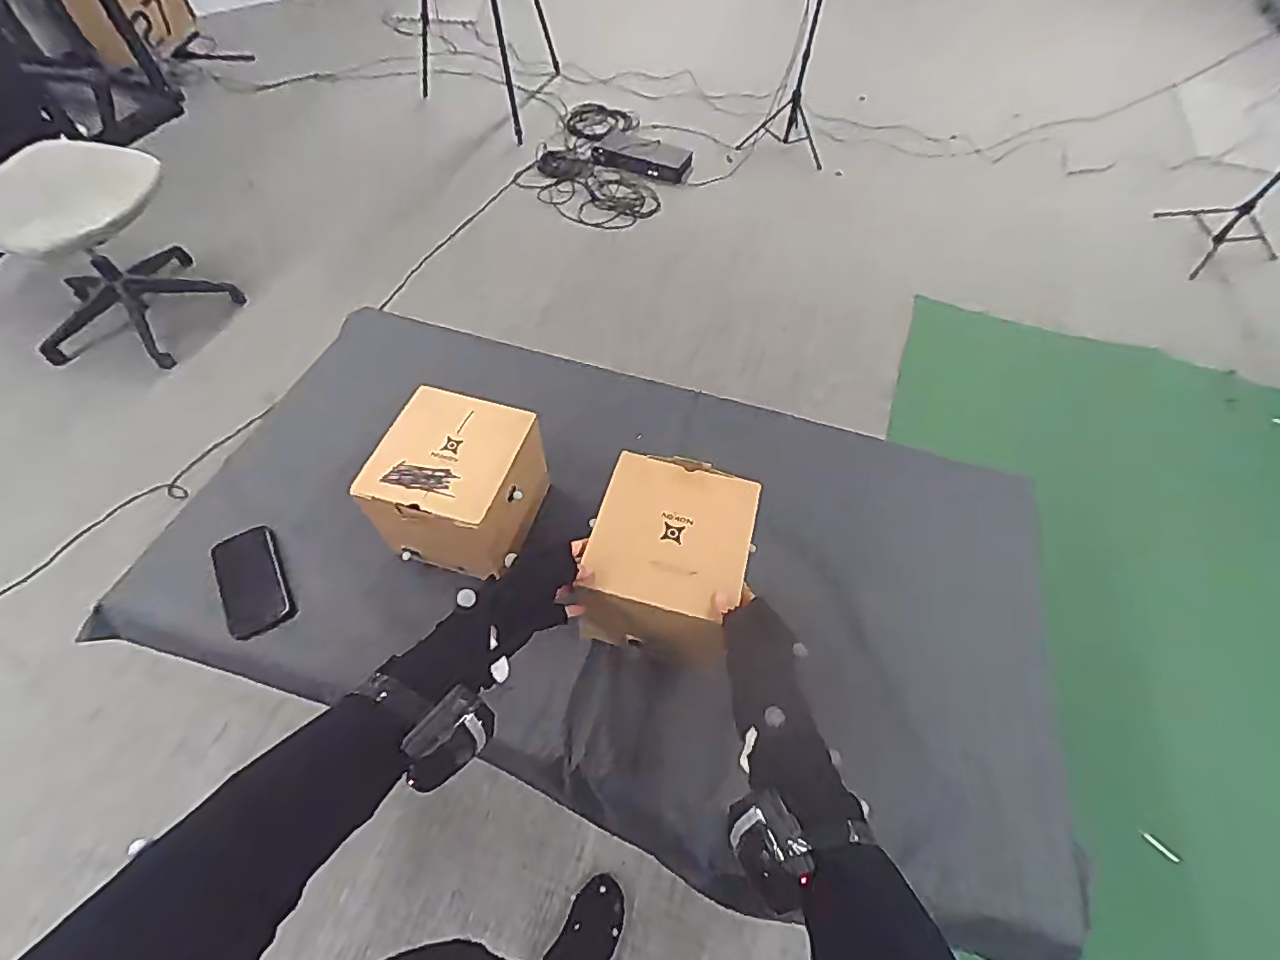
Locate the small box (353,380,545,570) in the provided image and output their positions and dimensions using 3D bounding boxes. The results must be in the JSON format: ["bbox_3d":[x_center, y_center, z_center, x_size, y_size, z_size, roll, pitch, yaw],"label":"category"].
[{"bbox_3d":[-0.237,0.000,0.728,0.168,0.176,0.179,15,58,6],"label":"small box"}]

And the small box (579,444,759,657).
[{"bbox_3d":[0.033,0.088,0.646,0.168,0.176,0.179,13,58,7],"label":"small box"}]
